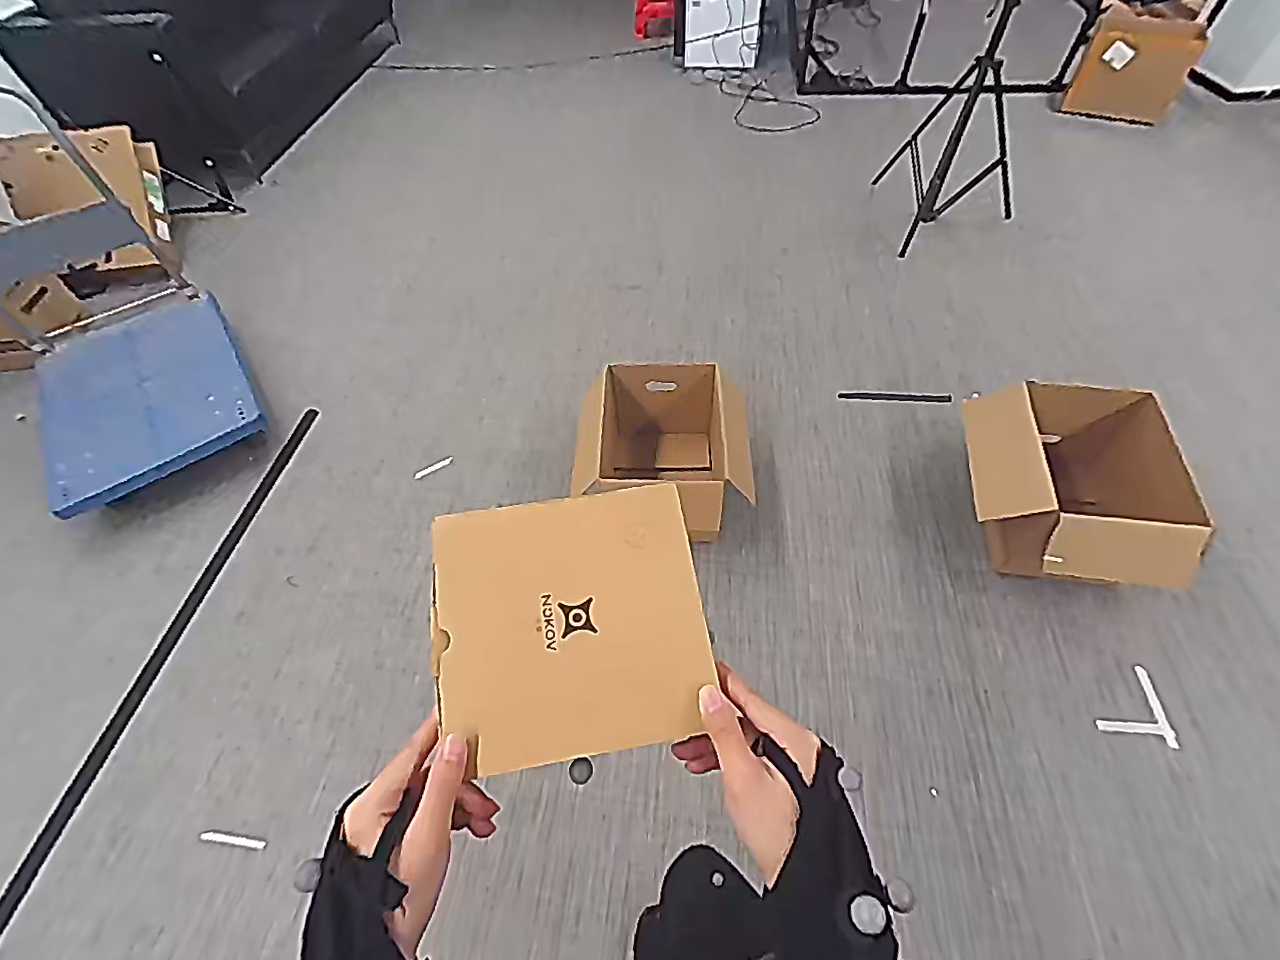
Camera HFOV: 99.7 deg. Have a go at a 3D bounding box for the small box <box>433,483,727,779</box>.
[{"bbox_3d":[-0.046,0.117,0.425,0.179,0.176,0.168,-9,69,-4],"label":"small box"}]
